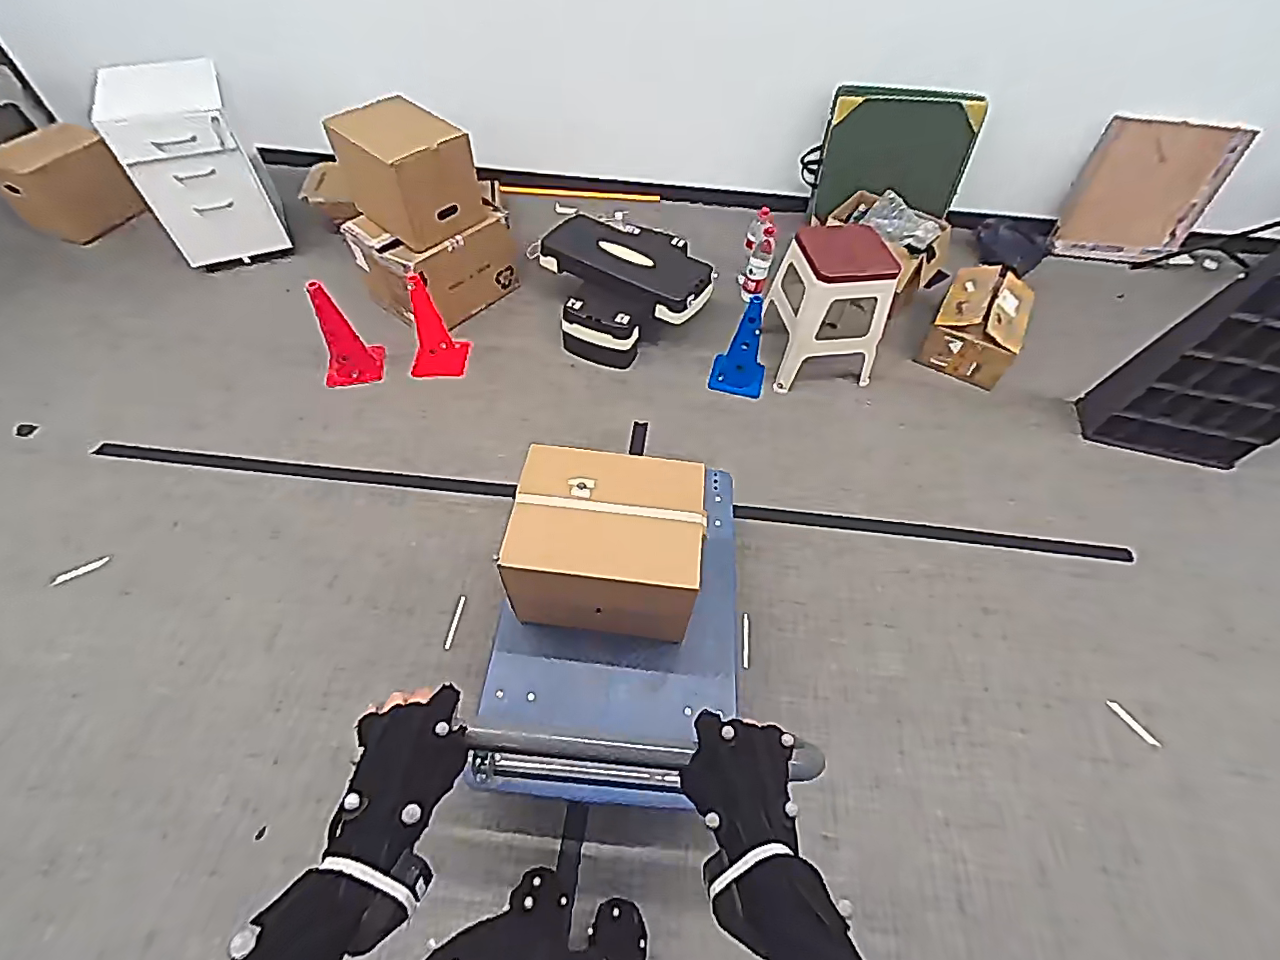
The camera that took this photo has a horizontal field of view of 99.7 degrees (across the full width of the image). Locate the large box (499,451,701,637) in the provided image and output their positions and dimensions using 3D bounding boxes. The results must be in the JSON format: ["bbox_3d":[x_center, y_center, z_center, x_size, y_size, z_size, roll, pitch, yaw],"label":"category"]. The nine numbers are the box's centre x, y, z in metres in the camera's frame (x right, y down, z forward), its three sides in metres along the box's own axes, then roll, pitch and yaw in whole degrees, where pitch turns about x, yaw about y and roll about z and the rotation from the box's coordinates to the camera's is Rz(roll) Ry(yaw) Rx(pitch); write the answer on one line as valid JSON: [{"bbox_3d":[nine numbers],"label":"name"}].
[{"bbox_3d":[-0.074,0.160,1.284,0.408,0.320,0.320,7,55,2],"label":"large box"}]
